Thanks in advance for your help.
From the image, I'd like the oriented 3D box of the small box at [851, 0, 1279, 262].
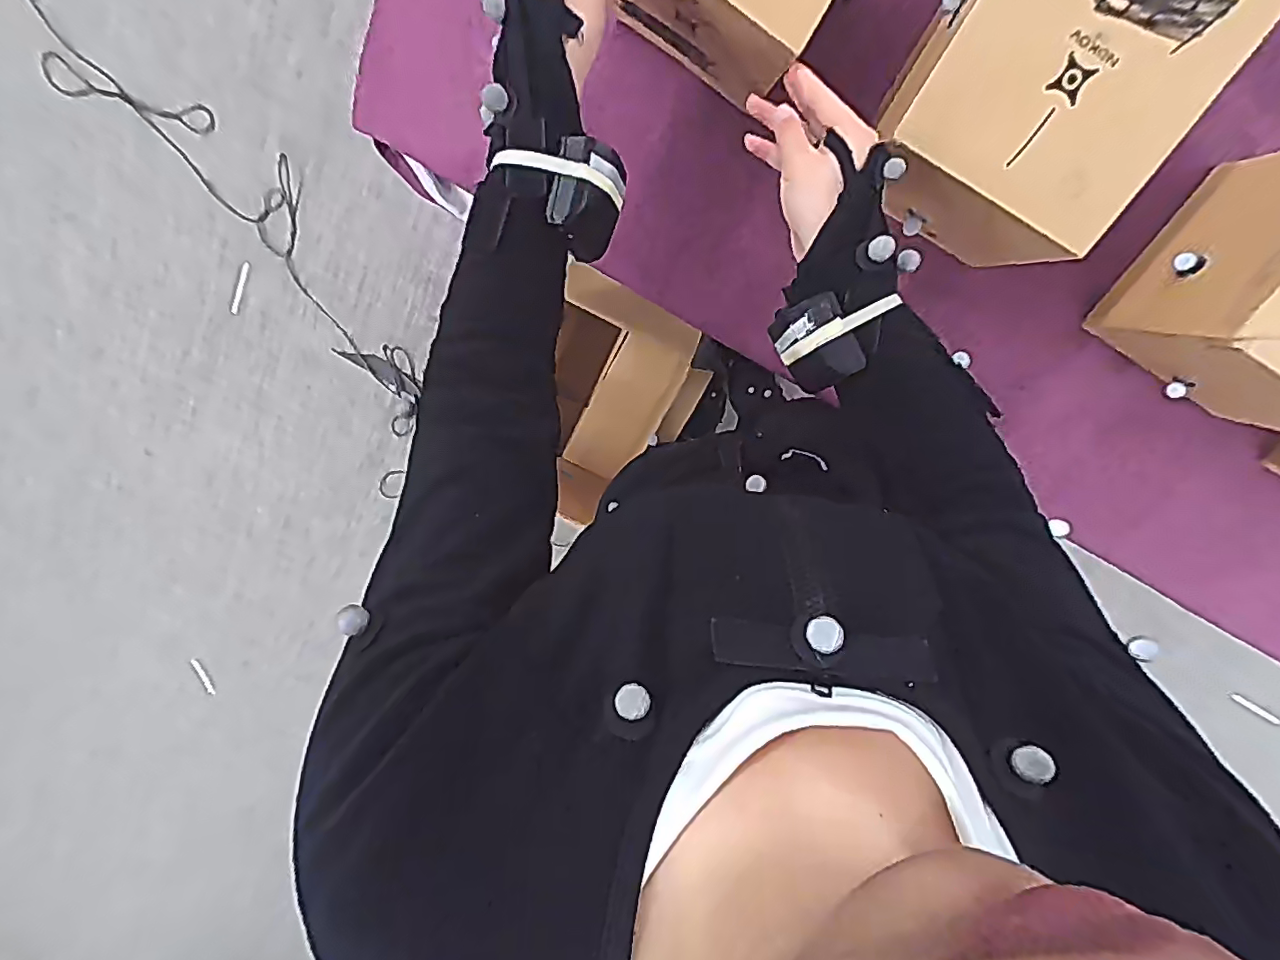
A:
[{"bbox_3d":[0.298,-0.297,0.430,0.168,0.176,0.179,30,110,-4],"label":"small box"}]
